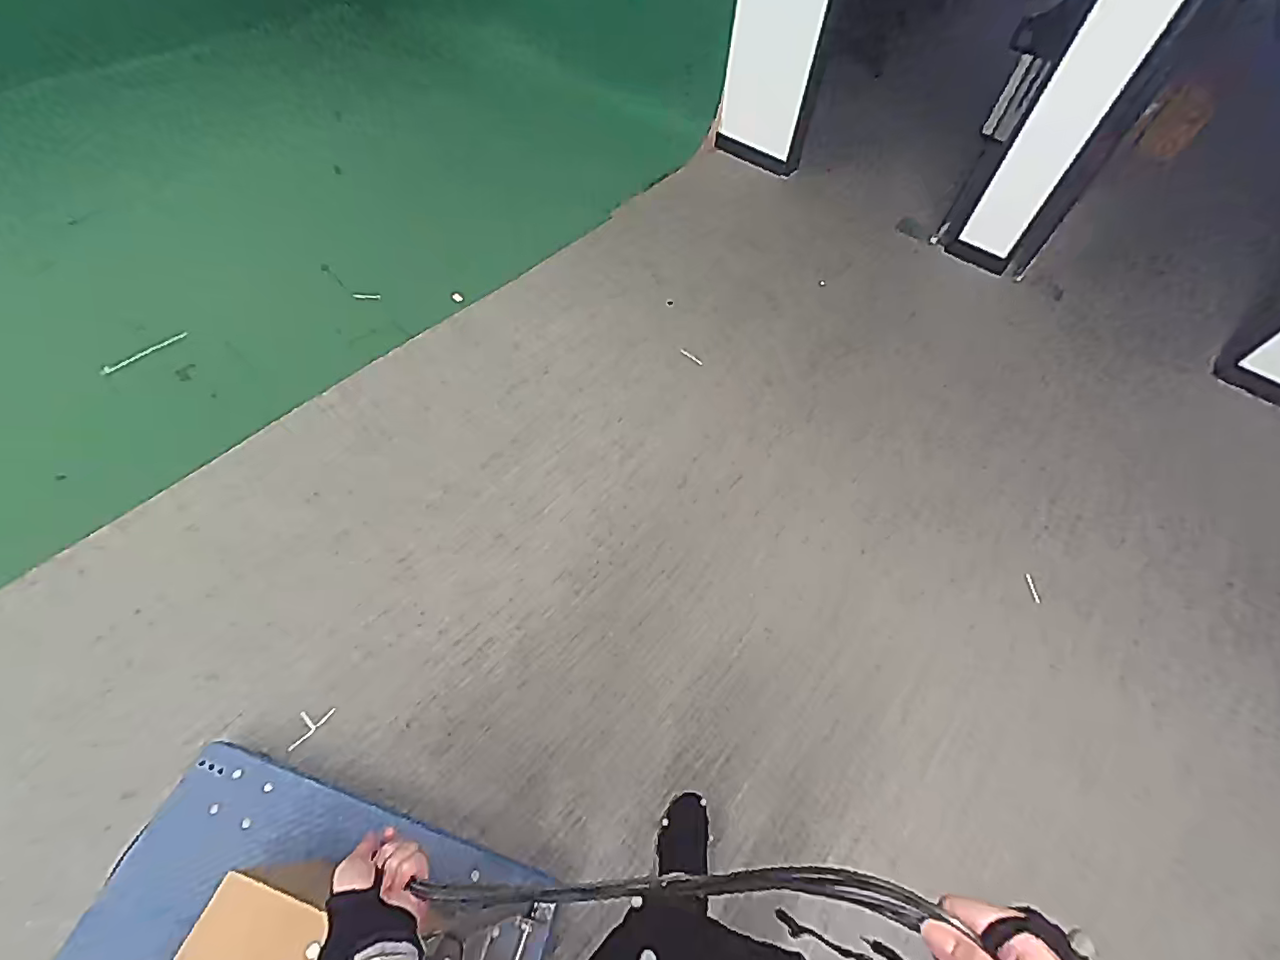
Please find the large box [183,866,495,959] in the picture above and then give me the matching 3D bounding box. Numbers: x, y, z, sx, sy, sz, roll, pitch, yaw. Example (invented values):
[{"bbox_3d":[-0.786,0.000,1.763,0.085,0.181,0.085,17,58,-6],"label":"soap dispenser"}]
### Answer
[{"bbox_3d":[-0.505,0.880,0.876,0.408,0.320,0.320,15,57,9],"label":"large box"}]
